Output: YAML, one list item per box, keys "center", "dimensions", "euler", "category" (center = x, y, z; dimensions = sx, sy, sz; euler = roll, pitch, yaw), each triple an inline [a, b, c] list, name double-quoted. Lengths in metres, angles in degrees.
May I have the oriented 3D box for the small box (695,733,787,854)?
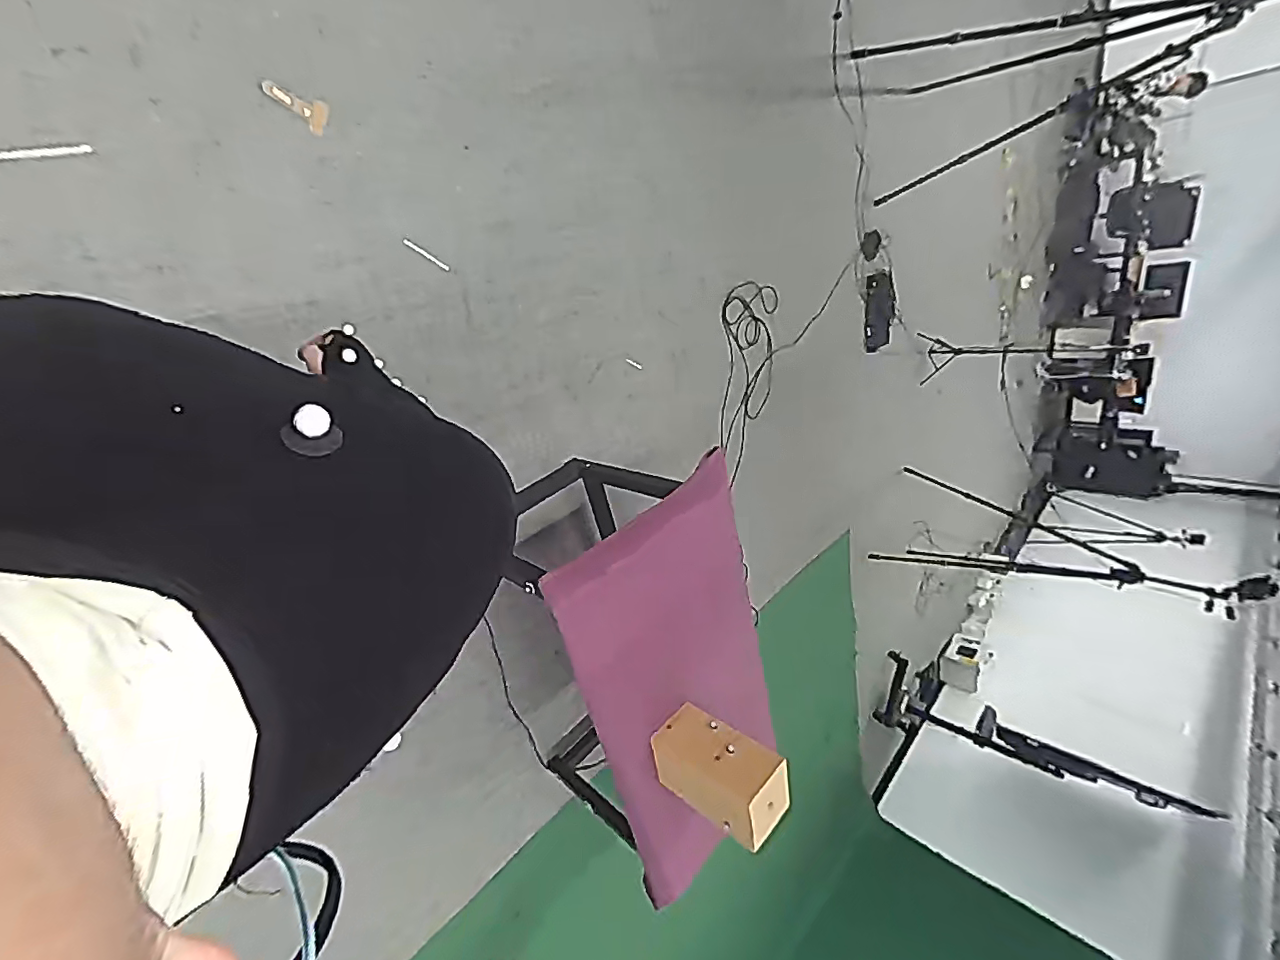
- center: [0.262, 0.802, 1.403]
  dimensions: [0.168, 0.176, 0.179]
  euler: [-27, 118, -38]
  category: "small box"
